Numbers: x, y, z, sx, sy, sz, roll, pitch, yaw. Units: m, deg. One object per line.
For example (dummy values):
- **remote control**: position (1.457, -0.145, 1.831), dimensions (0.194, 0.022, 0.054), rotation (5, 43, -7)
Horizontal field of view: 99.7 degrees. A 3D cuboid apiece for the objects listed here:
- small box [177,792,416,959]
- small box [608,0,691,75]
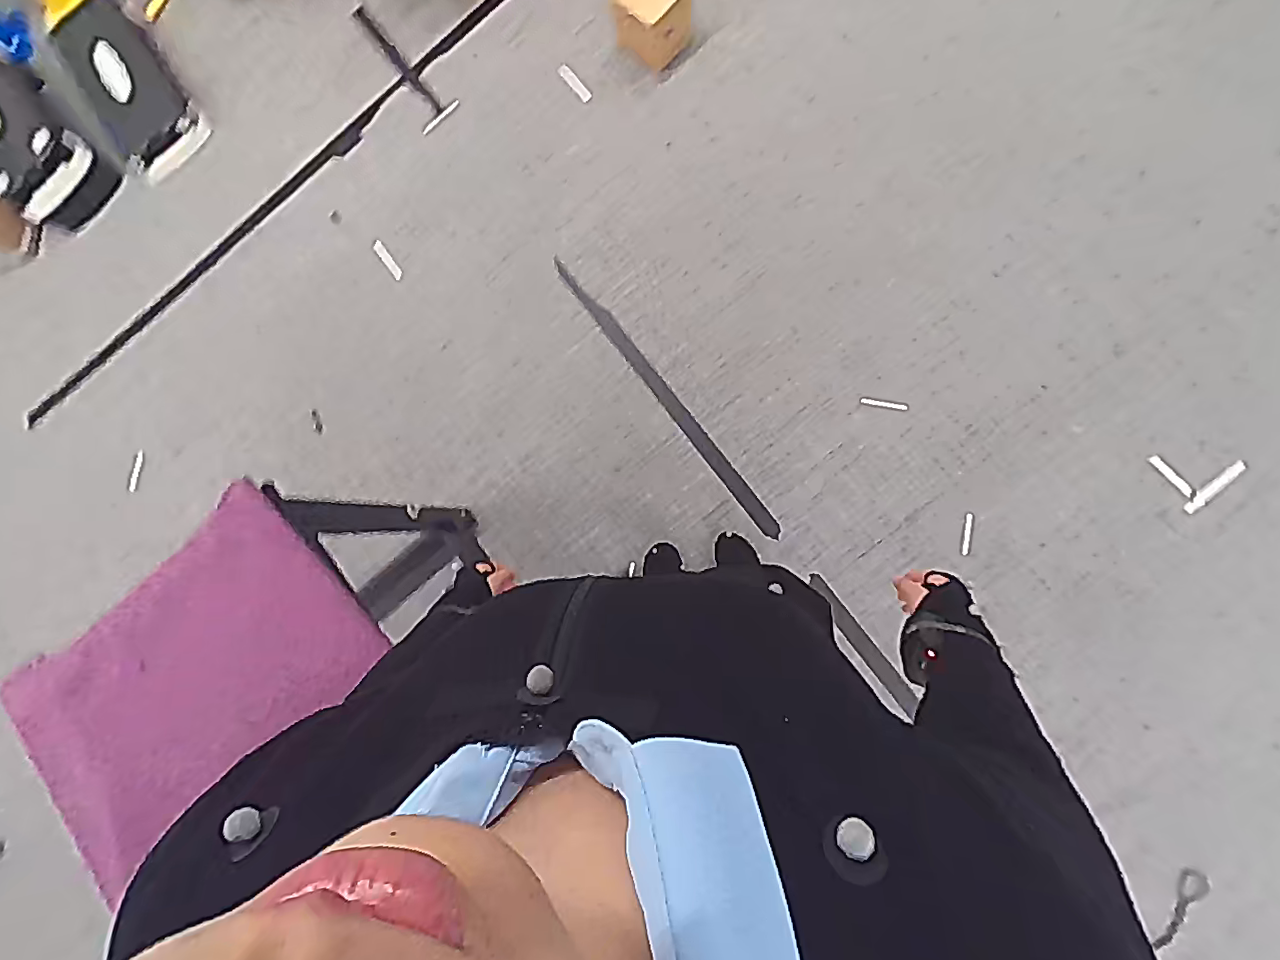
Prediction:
- **small box**: position (-0.436, 0.564, 0.715), dimensions (0.168, 0.176, 0.179), rotation (-37, 80, 3)
- **small box**: position (0.036, -1.343, 1.580), dimensions (0.179, 0.176, 0.168), rotation (44, 92, 10)
